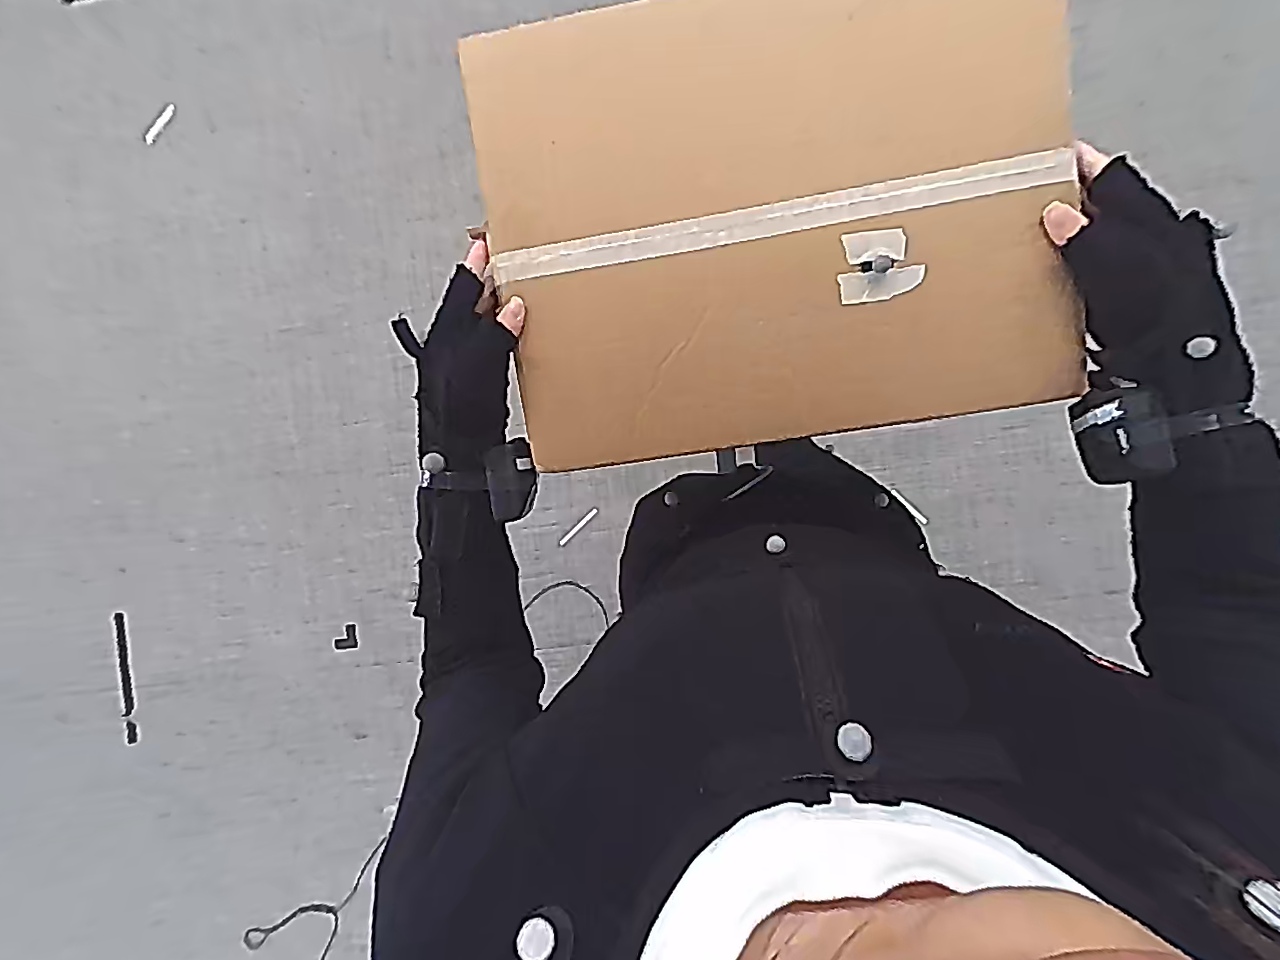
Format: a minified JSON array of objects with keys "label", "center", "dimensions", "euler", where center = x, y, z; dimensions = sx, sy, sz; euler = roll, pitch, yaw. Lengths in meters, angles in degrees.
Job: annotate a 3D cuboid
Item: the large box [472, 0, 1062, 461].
[{"label":"large box","center":[0.101,-0.214,0.545],"dimensions":[0.408,0.320,0.320],"euler":[-9,98,4]}]
